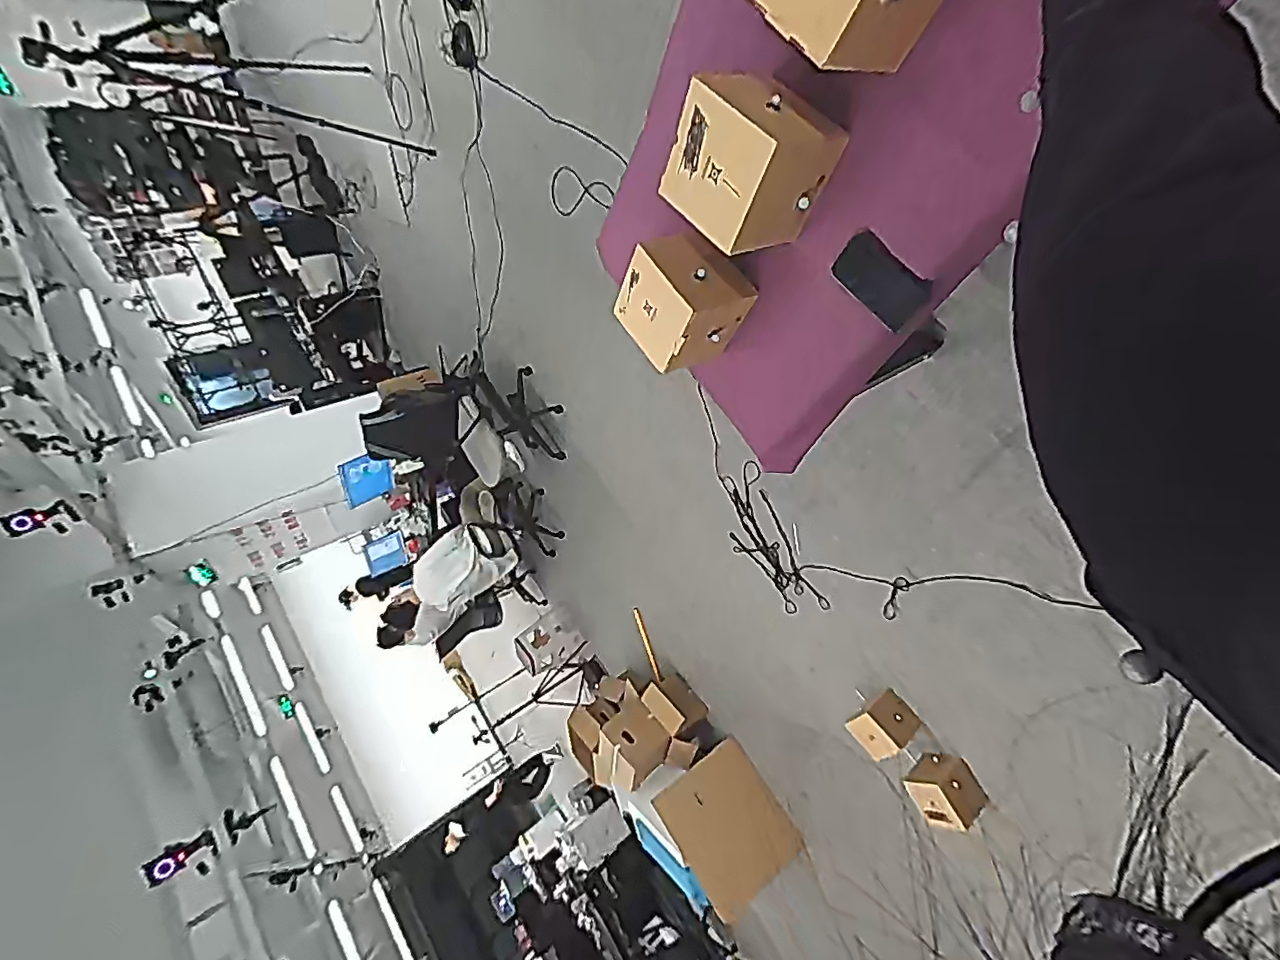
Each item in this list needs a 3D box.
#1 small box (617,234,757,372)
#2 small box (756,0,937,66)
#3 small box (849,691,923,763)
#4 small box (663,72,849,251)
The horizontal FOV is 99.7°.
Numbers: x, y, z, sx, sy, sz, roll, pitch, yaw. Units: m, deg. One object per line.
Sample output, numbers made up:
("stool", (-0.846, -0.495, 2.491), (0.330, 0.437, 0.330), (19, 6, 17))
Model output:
("small box", (0.089, -0.341, 1.030), (0.179, 0.176, 0.168), (54, 148, 15))
("small box", (0.252, -0.600, 0.599), (0.168, 0.176, 0.179), (55, 148, 13))
("small box", (0.950, 0.945, 2.075), (0.168, 0.176, 0.179), (49, 146, 23))
("small box", (0.169, -0.476, 0.812), (0.179, 0.176, 0.168), (51, 147, 19))
